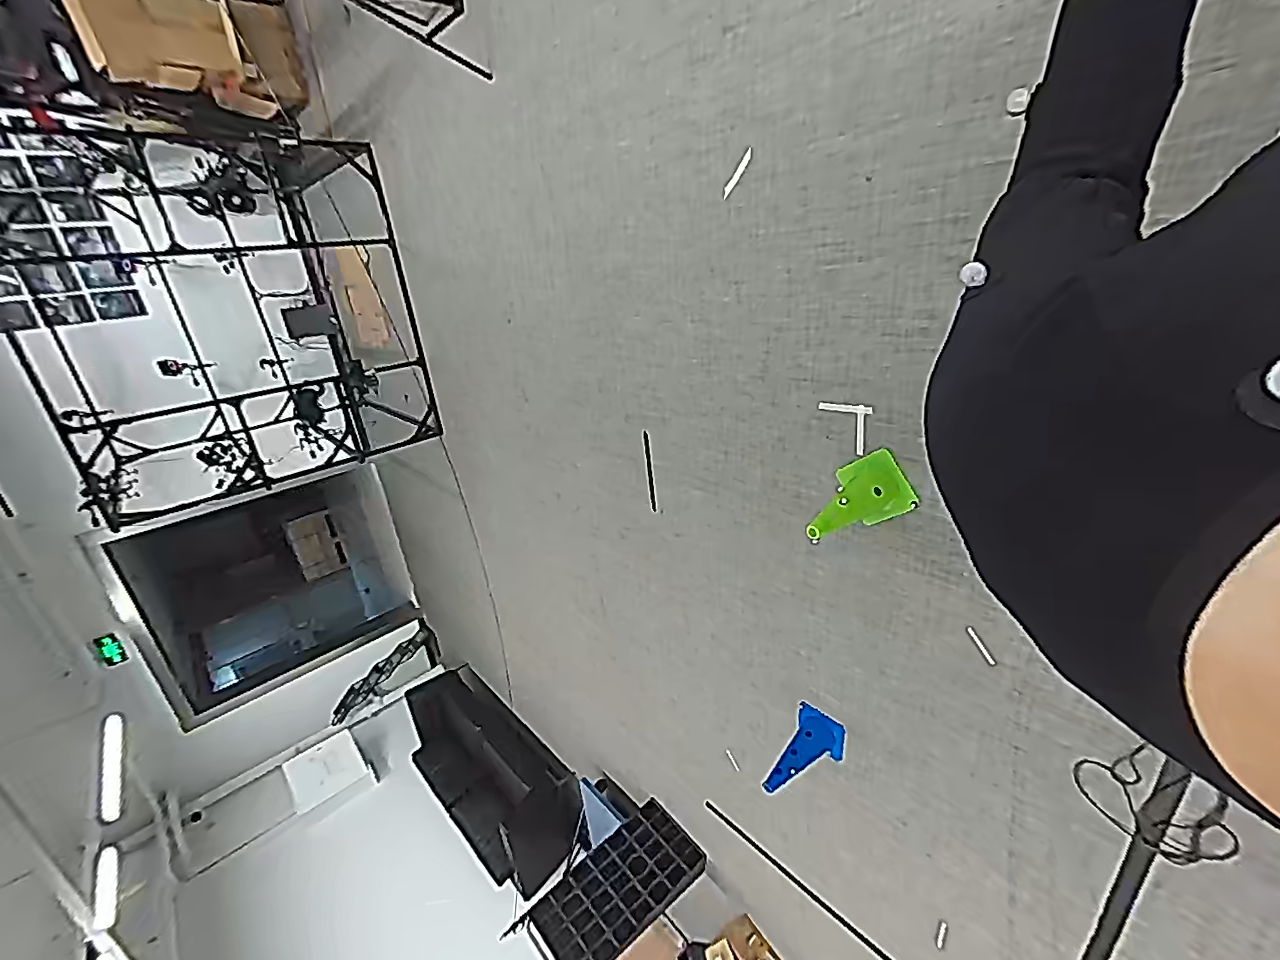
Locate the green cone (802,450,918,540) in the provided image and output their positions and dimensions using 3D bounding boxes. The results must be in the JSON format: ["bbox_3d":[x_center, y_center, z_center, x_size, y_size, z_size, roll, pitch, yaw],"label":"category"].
[{"bbox_3d":[0.587,0.079,1.547,0.200,0.368,0.202,62,145,8],"label":"green cone"}]

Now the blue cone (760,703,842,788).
[{"bbox_3d":[0.604,1.068,2.097,0.192,0.380,0.193,24,126,45],"label":"blue cone"}]
